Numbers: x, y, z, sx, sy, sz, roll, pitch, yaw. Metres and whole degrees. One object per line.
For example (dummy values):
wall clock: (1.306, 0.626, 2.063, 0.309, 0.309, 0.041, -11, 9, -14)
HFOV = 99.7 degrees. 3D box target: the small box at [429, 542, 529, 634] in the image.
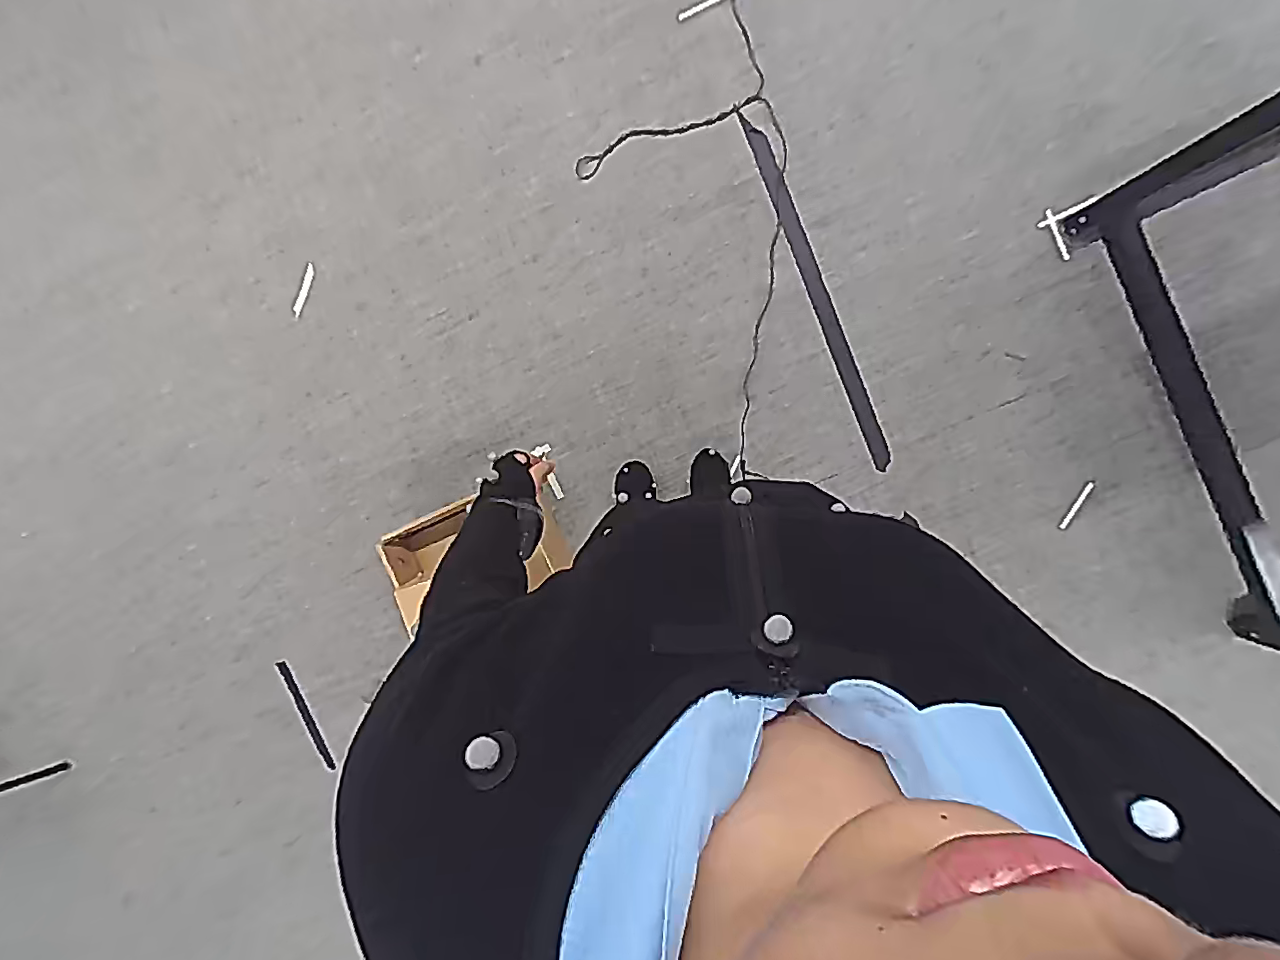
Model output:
small box: (-0.418, 0.279, 1.429, 0.179, 0.176, 0.168, -20, 94, 4)
